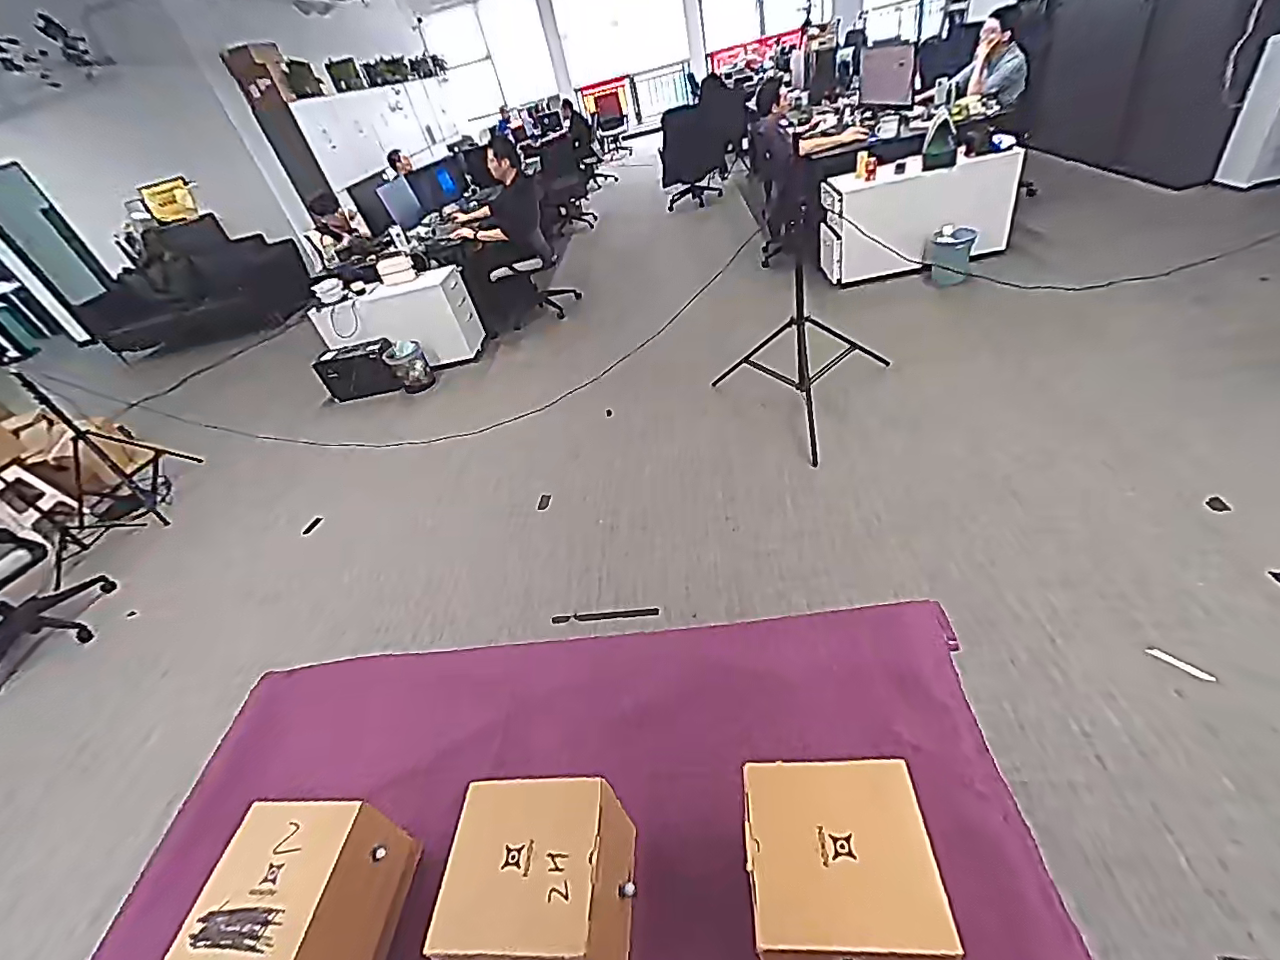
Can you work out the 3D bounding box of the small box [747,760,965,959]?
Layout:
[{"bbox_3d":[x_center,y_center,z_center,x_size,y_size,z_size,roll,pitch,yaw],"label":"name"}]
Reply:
[{"bbox_3d":[0.216,0.424,0.584,0.179,0.176,0.168,-8,37,12],"label":"small box"}]

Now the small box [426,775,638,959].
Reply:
[{"bbox_3d":[-0.111,0.472,0.640,0.179,0.176,0.168,-8,39,11],"label":"small box"}]
